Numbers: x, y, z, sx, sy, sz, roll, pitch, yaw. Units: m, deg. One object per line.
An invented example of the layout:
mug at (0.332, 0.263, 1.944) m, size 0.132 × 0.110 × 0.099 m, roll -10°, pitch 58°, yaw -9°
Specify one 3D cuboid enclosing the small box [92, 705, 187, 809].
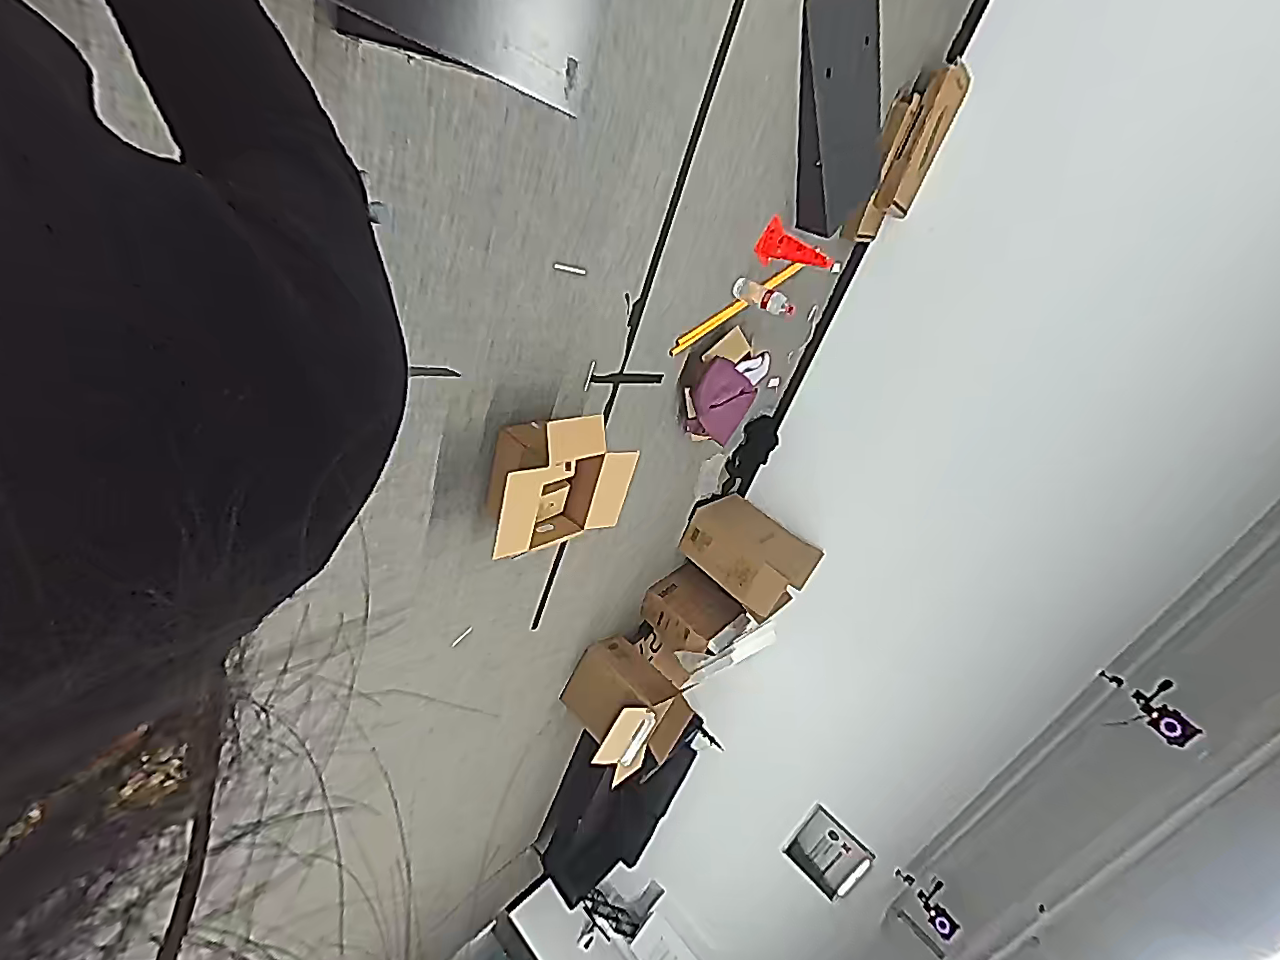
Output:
small box at (-1.450, 0.793, 1.568) m, size 0.179 × 0.176 × 0.168 m, roll -10°, pitch 127°, yaw -50°
